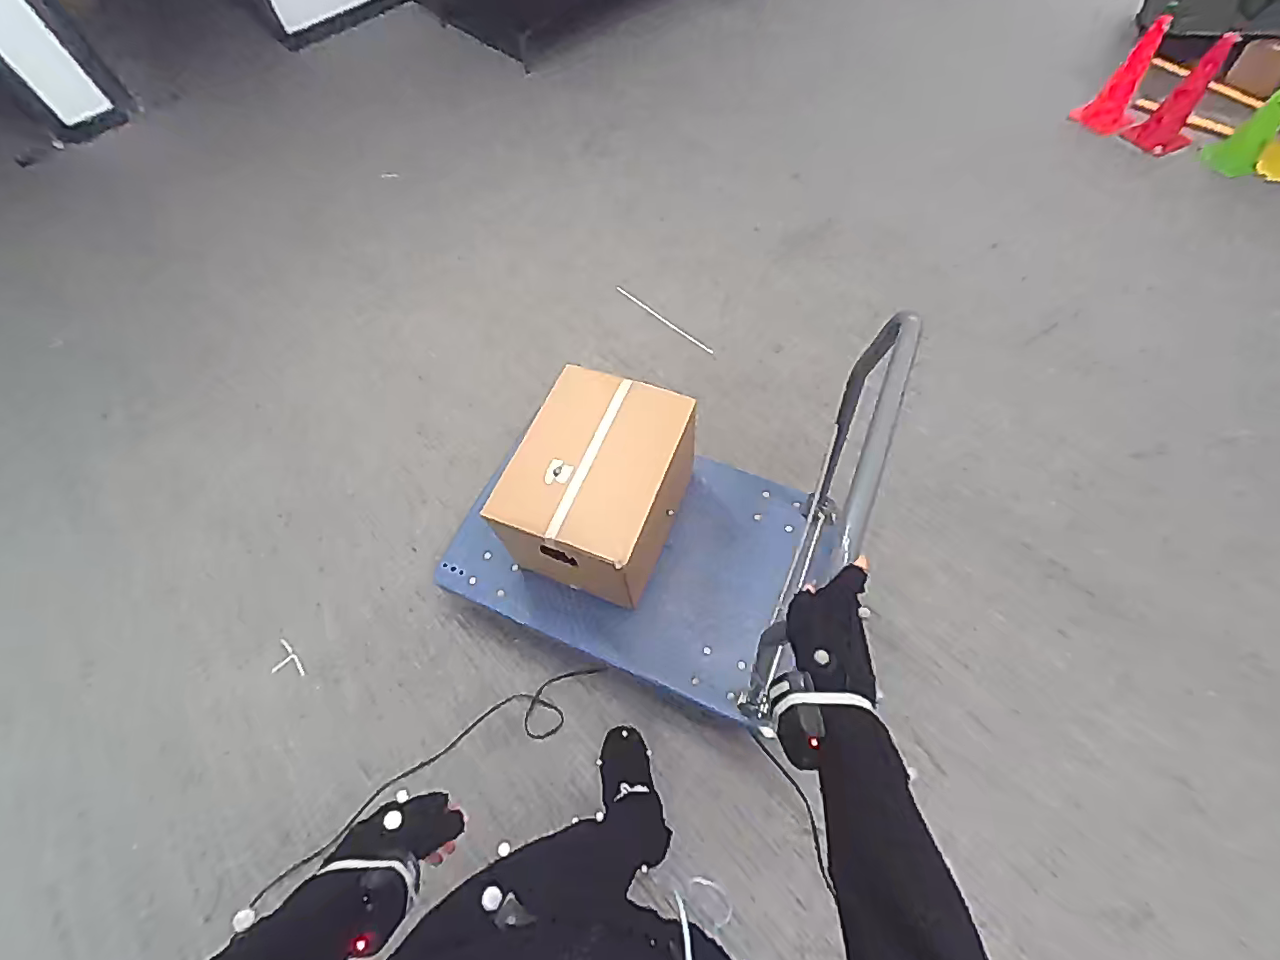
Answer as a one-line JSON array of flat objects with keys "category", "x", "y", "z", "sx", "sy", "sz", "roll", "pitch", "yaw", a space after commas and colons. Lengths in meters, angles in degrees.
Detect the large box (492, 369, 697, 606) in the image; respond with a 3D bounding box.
[{"category": "large box", "x": -0.077, "y": 0.022, "z": 1.249, "sx": 0.320, "sy": 0.320, "sz": 0.408, "roll": 18, "pitch": 65, "yaw": 13}]
